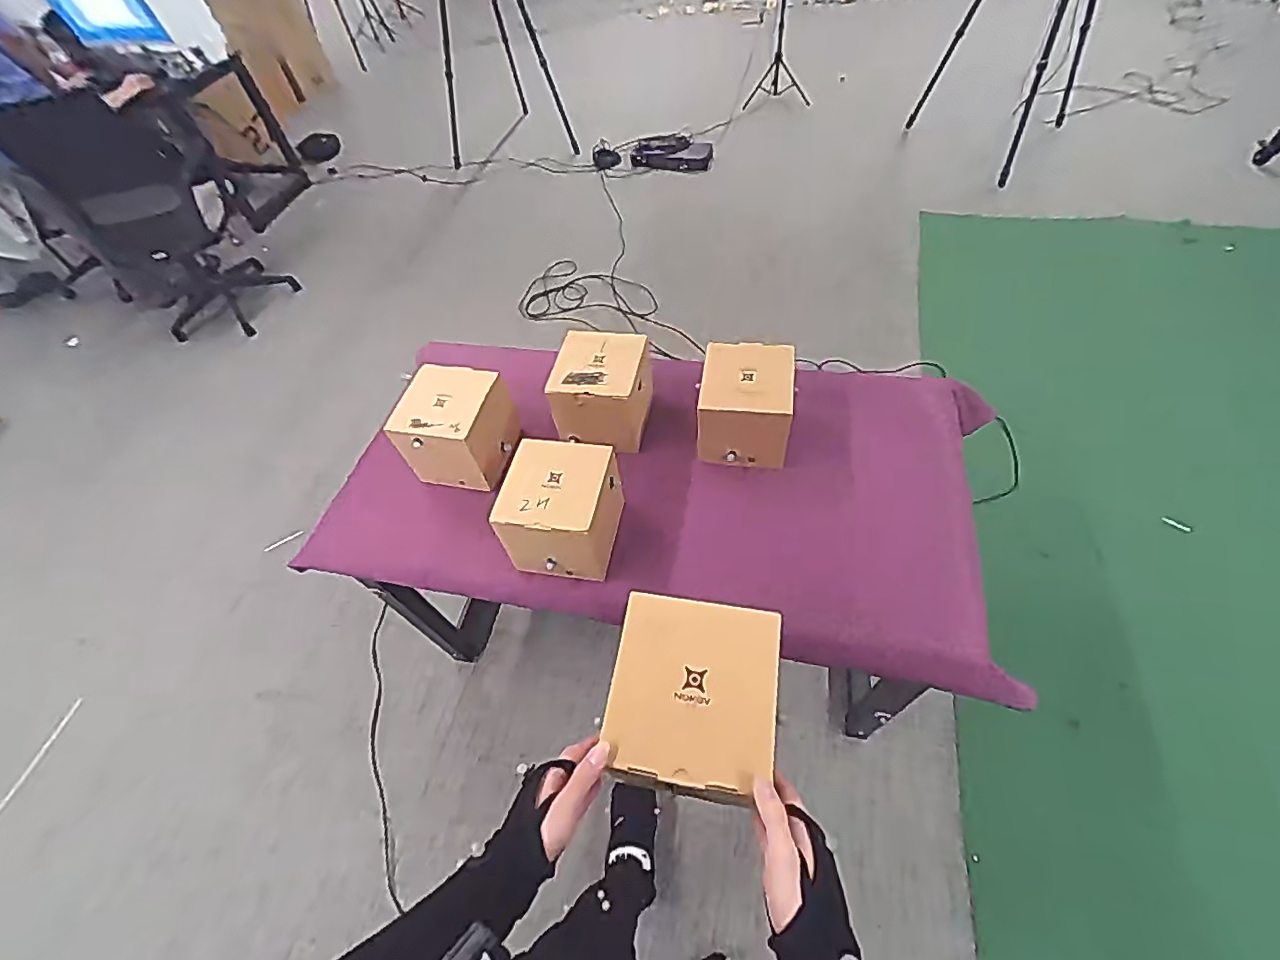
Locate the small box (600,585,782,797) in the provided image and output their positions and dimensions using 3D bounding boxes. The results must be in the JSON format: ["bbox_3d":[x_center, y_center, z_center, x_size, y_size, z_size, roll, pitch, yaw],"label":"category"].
[{"bbox_3d":[0.061,0.242,0.614,0.168,0.176,0.179,7,59,9],"label":"small box"}]

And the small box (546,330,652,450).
[{"bbox_3d":[-0.073,-0.180,1.101,0.168,0.176,0.179,7,55,10],"label":"small box"}]

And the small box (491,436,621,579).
[{"bbox_3d":[-0.133,0.049,0.943,0.168,0.176,0.179,6,55,11],"label":"small box"}]

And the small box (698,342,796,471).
[{"bbox_3d":[0.204,-0.141,1.047,0.168,0.176,0.179,6,56,11],"label":"small box"}]

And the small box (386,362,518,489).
[{"bbox_3d":[-0.360,-0.109,1.077,0.168,0.176,0.179,8,55,13],"label":"small box"}]
